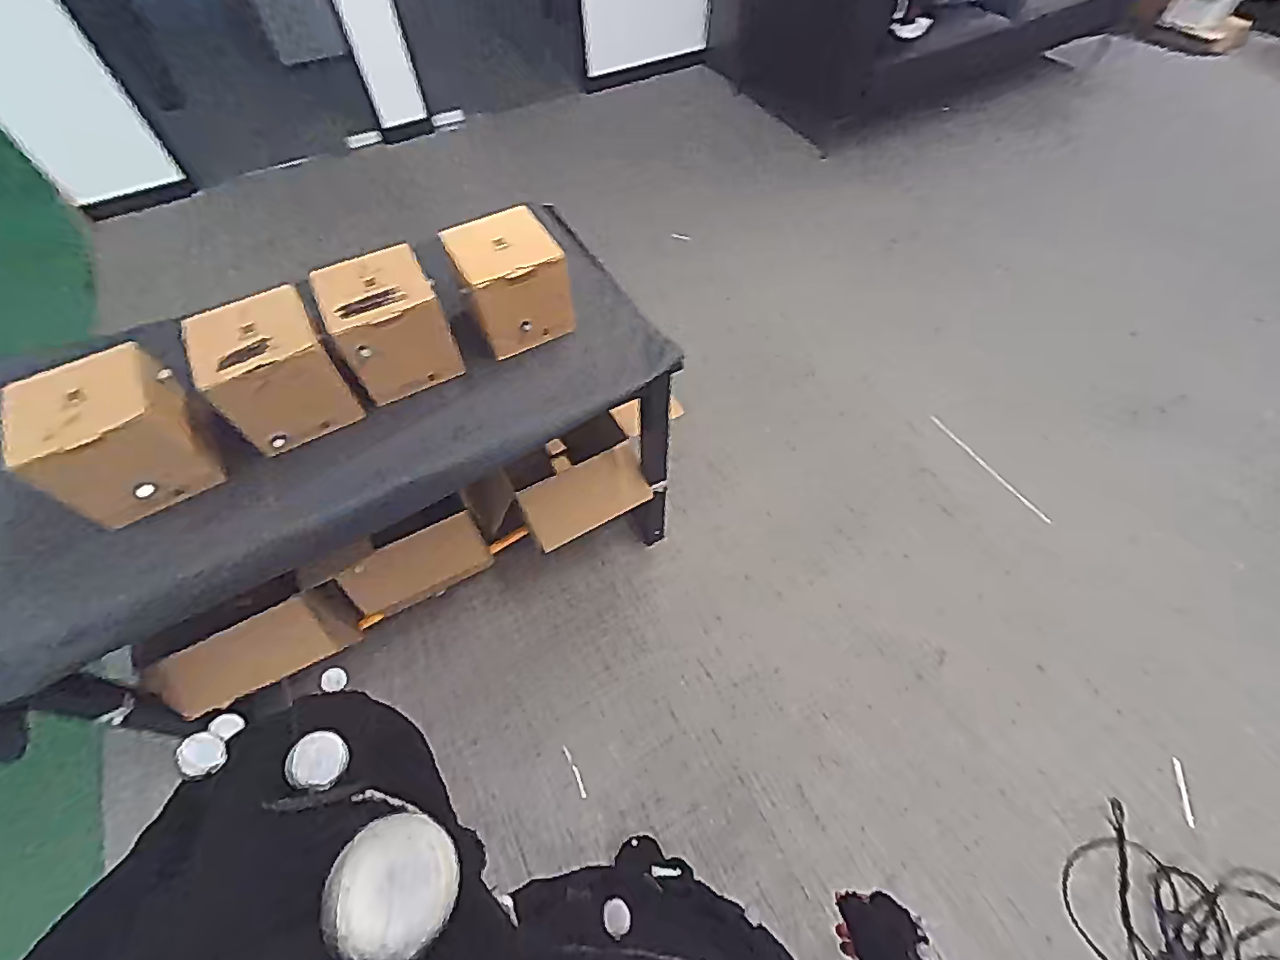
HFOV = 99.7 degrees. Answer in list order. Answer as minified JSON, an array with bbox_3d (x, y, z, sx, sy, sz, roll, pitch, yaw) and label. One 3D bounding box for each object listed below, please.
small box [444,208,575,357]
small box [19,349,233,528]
[{"bbox_3d":[-0.235,-0.363,1.003,0.168,0.176,0.179,-27,61,-15],"label":"small box"},{"bbox_3d":[-0.771,-0.059,0.825,0.168,0.176,0.179,-30,62,-16],"label":"small box"}]
